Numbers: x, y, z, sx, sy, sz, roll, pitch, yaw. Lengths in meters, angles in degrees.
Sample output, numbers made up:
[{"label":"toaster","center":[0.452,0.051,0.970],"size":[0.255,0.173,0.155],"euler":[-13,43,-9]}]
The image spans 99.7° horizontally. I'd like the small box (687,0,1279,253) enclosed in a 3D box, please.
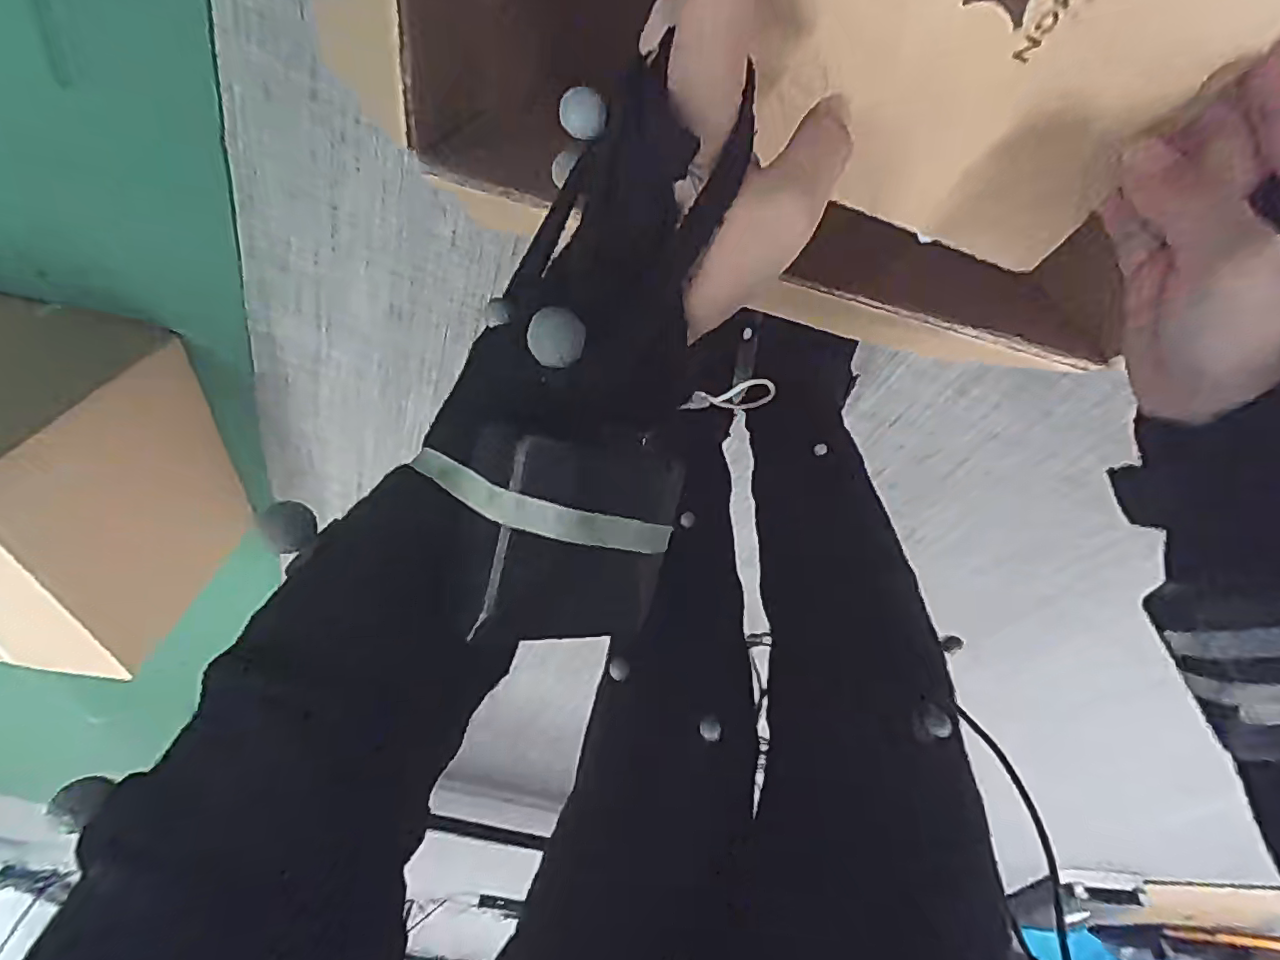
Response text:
[{"label":"small box","center":[0.130,-0.233,0.218],"size":[0.179,0.176,0.168],"euler":[13,145,-11]}]
